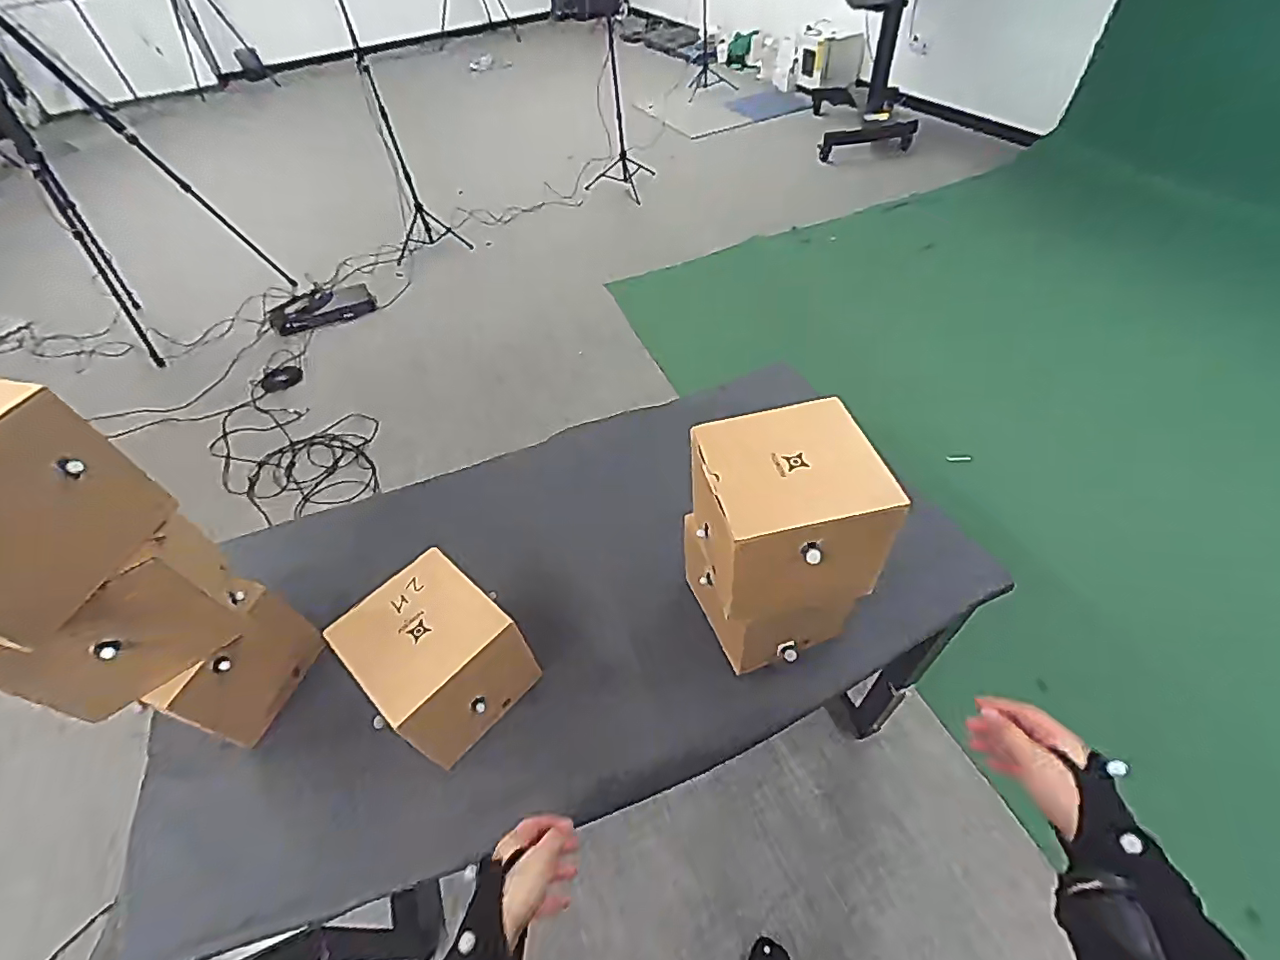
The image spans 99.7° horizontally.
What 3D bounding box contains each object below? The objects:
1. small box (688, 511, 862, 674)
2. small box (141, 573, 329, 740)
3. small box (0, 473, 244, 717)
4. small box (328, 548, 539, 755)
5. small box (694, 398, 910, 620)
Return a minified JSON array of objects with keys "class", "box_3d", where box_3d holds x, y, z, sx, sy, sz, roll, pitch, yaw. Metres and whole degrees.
[{"class":"small box","box_3d":[0.175,0.133,0.746,0.168,0.176,0.179,-20,50,-9]},{"class":"small box","box_3d":[-0.585,0.235,0.747,0.179,0.176,0.168,11,52,15]},{"class":"small box","box_3d":[-0.597,0.131,0.619,0.179,0.176,0.168,-36,56,-22]},{"class":"small box","box_3d":[-0.259,0.230,0.712,0.179,0.176,0.168,32,59,30]},{"class":"small box","box_3d":[0.165,0.037,0.615,0.179,0.176,0.168,-12,48,-2]}]
